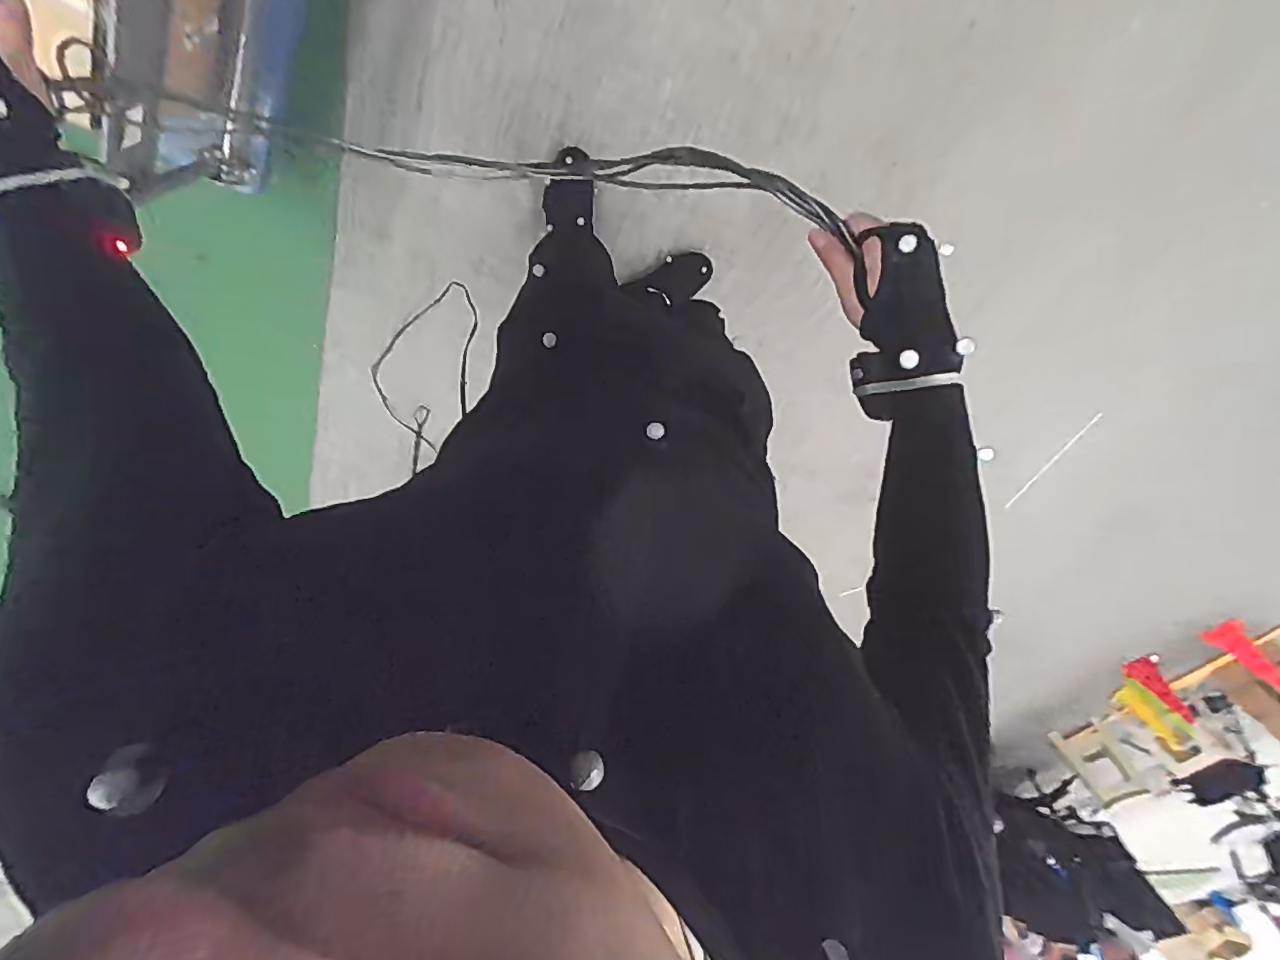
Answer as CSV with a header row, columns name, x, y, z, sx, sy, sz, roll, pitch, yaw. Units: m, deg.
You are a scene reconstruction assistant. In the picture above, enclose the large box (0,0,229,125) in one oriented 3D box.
name,x,y,z,sx,sy,sz,roll,pitch,yaw
large box,-0.871,-0.779,0.750,0.408,0.320,0.320,25,120,-23
